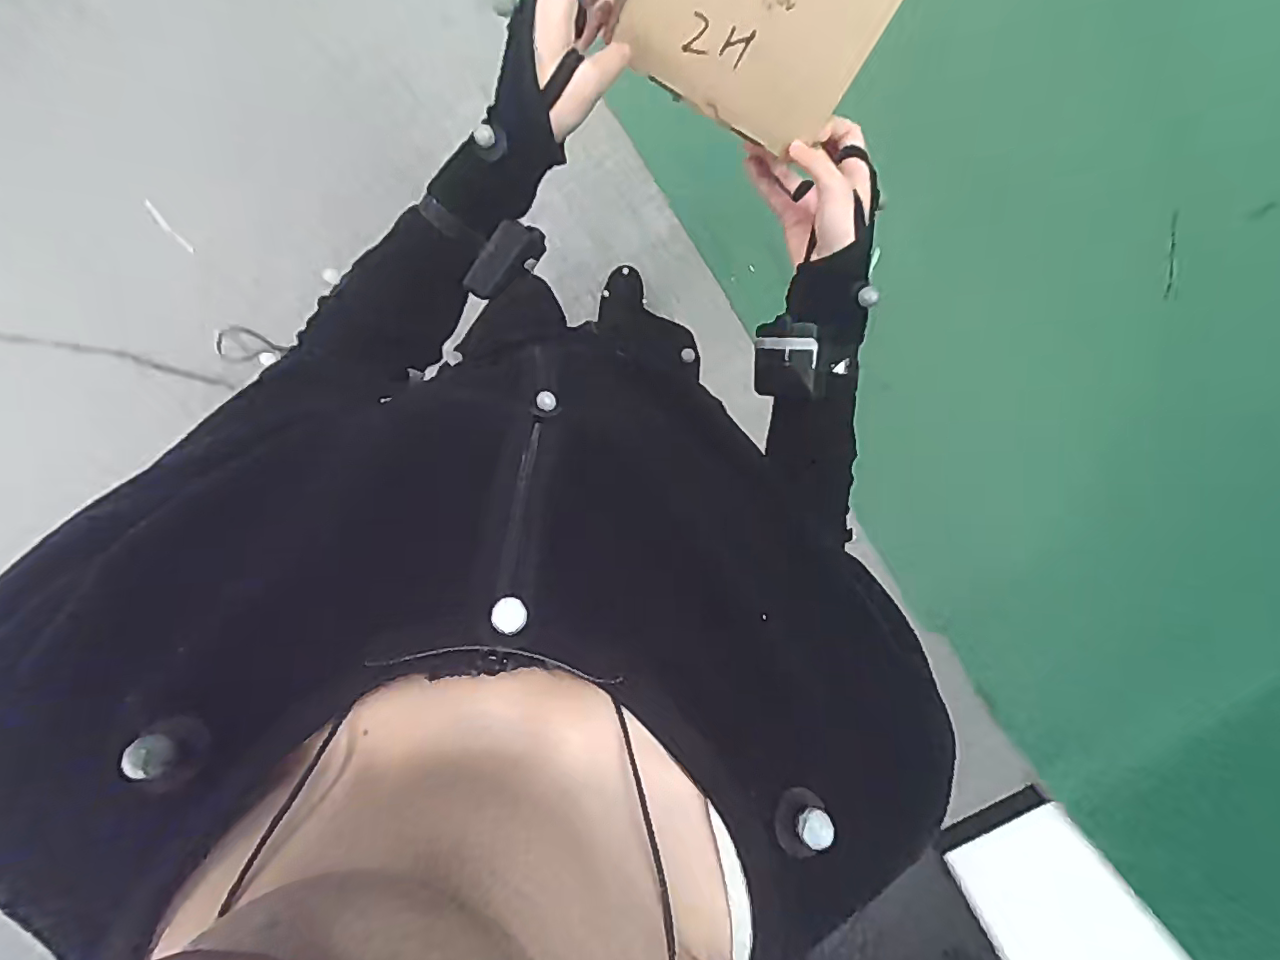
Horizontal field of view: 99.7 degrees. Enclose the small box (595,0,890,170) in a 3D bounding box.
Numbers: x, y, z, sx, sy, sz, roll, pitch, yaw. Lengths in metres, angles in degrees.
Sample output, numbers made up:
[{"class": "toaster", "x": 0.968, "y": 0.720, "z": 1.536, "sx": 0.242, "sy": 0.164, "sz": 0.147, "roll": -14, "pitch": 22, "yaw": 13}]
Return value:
[{"class": "small box", "x": 0.071, "y": -0.377, "z": 0.398, "sx": 0.168, "sy": 0.176, "sz": 0.179, "roll": 16, "pitch": 131, "yaw": -23}]
